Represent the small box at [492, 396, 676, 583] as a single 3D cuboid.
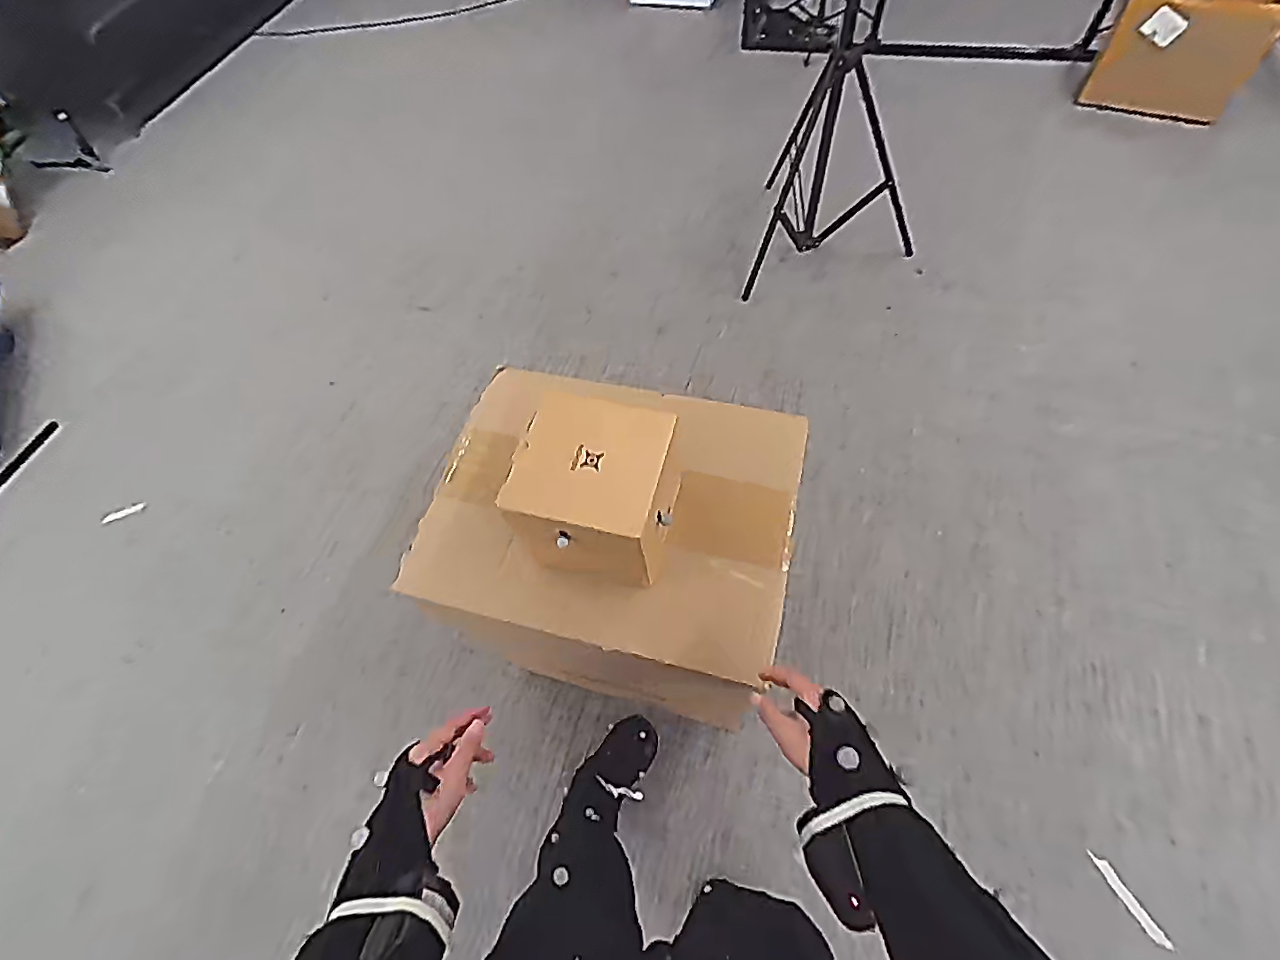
[{"bbox_3d":[-0.055,0.020,0.692,0.179,0.176,0.168,11,63,12],"label":"small box"}]
